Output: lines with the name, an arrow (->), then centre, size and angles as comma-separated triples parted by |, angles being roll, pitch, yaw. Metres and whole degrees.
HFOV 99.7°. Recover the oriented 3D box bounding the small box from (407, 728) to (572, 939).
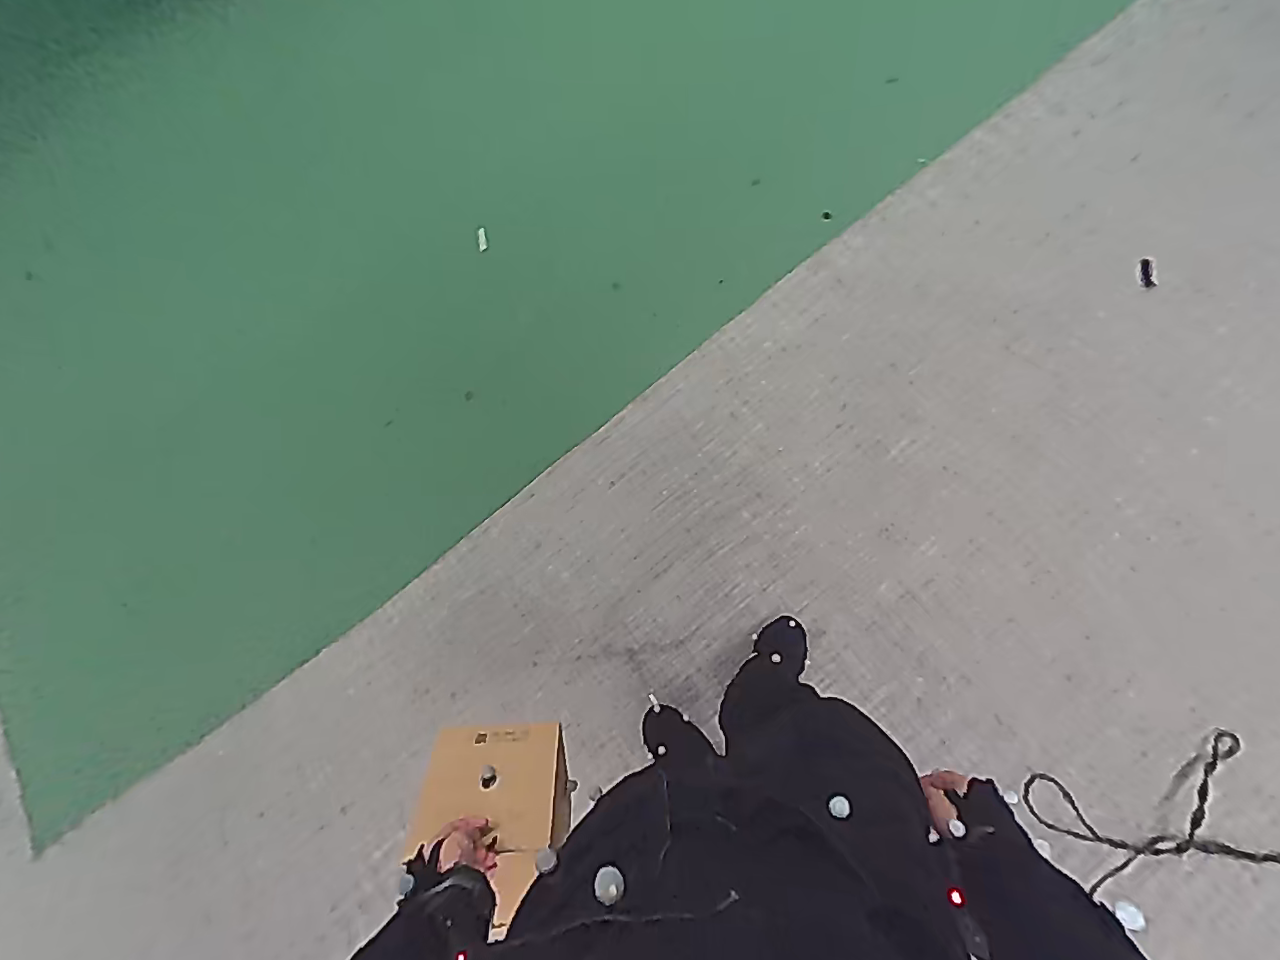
small box -> -0.179, 0.445, 0.702 | 0.168, 0.176, 0.179 | -4, 118, -3
